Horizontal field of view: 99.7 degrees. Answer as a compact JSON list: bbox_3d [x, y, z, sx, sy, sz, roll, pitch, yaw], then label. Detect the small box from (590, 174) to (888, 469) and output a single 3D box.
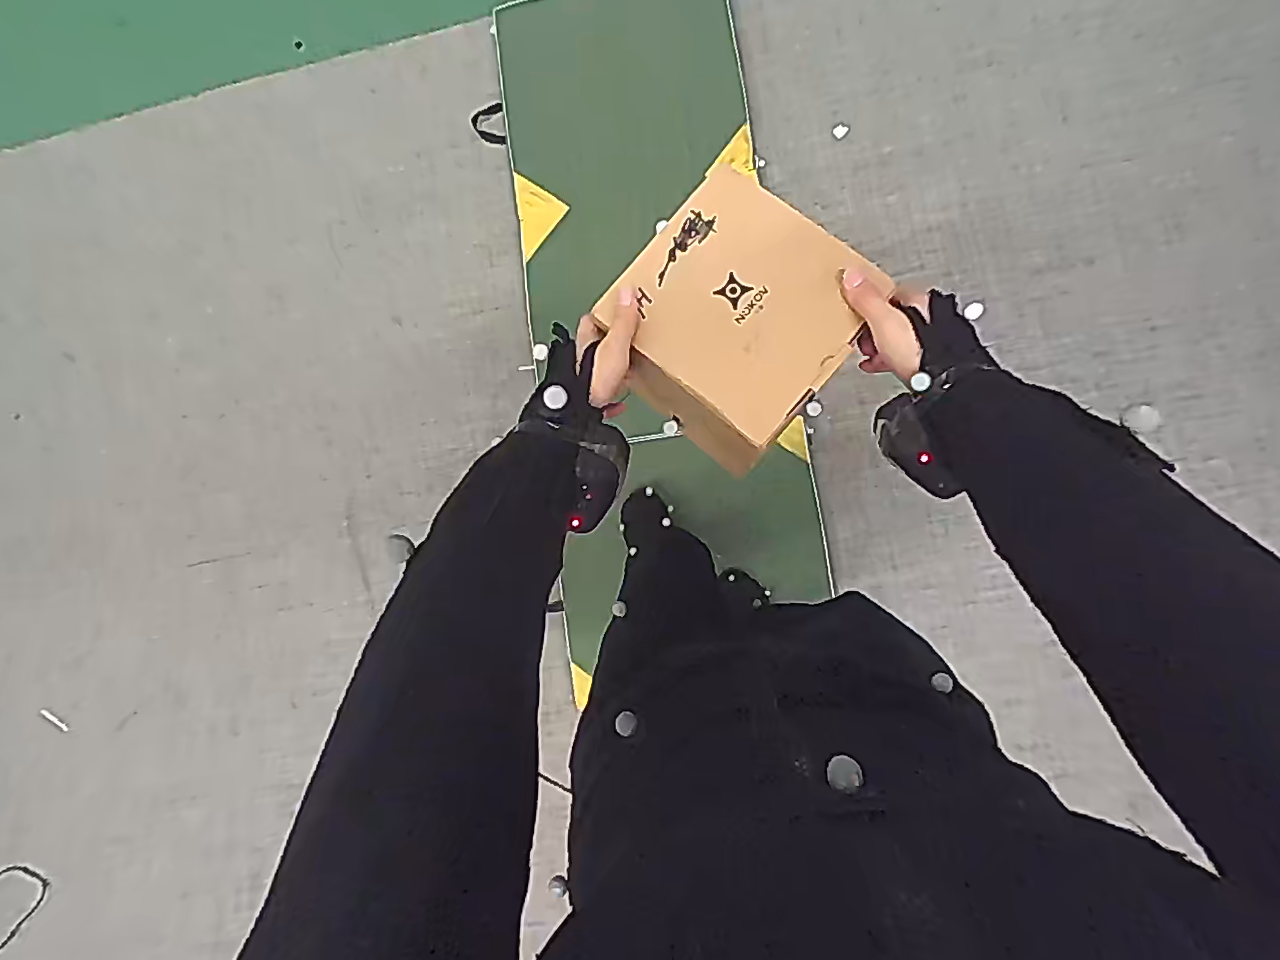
[{"bbox_3d":[0.082,-0.125,0.503,0.179,0.176,0.168,40,87,9],"label":"small box"}]
